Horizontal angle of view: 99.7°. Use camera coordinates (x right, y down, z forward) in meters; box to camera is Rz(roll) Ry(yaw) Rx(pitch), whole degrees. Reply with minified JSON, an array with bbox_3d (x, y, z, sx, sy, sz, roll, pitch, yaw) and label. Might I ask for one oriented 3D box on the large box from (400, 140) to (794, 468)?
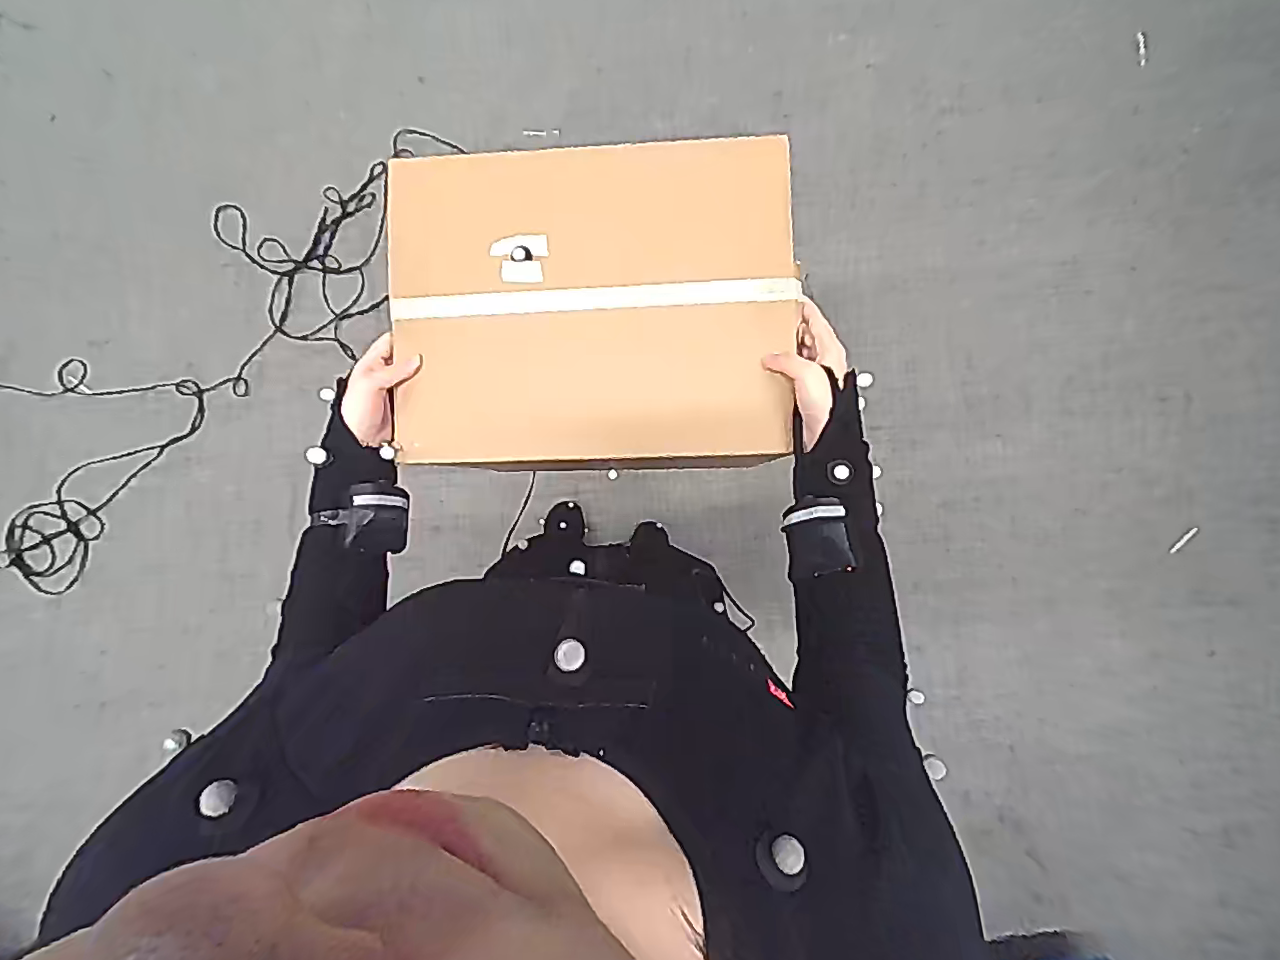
[{"bbox_3d":[-0.036,-0.178,0.700,0.408,0.320,0.320,-2,89,5],"label":"large box"}]
